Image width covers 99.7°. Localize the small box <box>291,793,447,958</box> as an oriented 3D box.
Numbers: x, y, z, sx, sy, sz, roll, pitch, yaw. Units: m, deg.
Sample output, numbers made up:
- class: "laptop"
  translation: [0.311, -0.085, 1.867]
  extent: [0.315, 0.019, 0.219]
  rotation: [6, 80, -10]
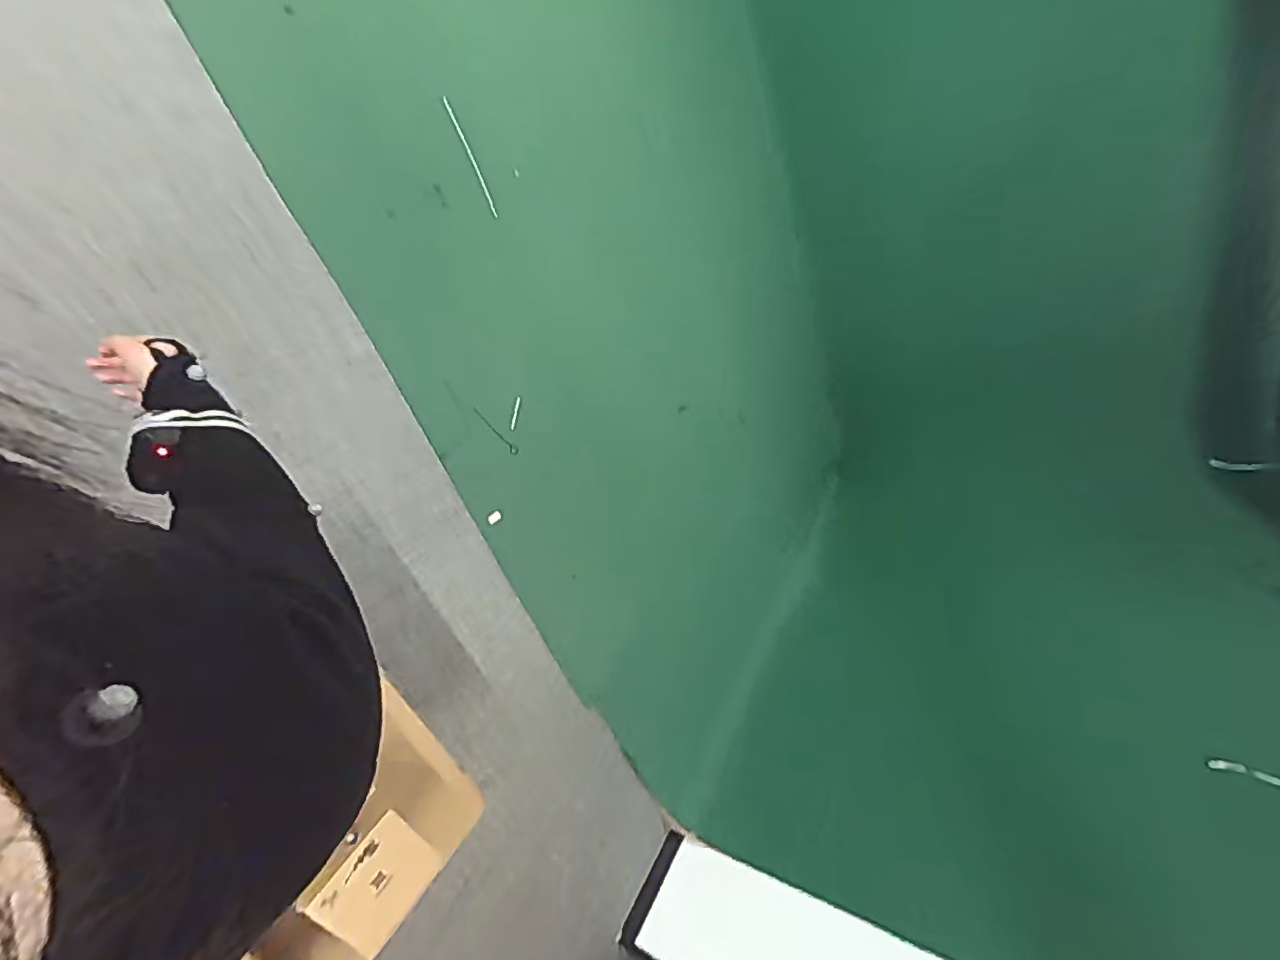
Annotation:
- class: "small box"
  translation: [-0.487, 0.672, 0.953]
  extent: [0.168, 0.176, 0.179]
  rotation: [-48, 126, -41]
